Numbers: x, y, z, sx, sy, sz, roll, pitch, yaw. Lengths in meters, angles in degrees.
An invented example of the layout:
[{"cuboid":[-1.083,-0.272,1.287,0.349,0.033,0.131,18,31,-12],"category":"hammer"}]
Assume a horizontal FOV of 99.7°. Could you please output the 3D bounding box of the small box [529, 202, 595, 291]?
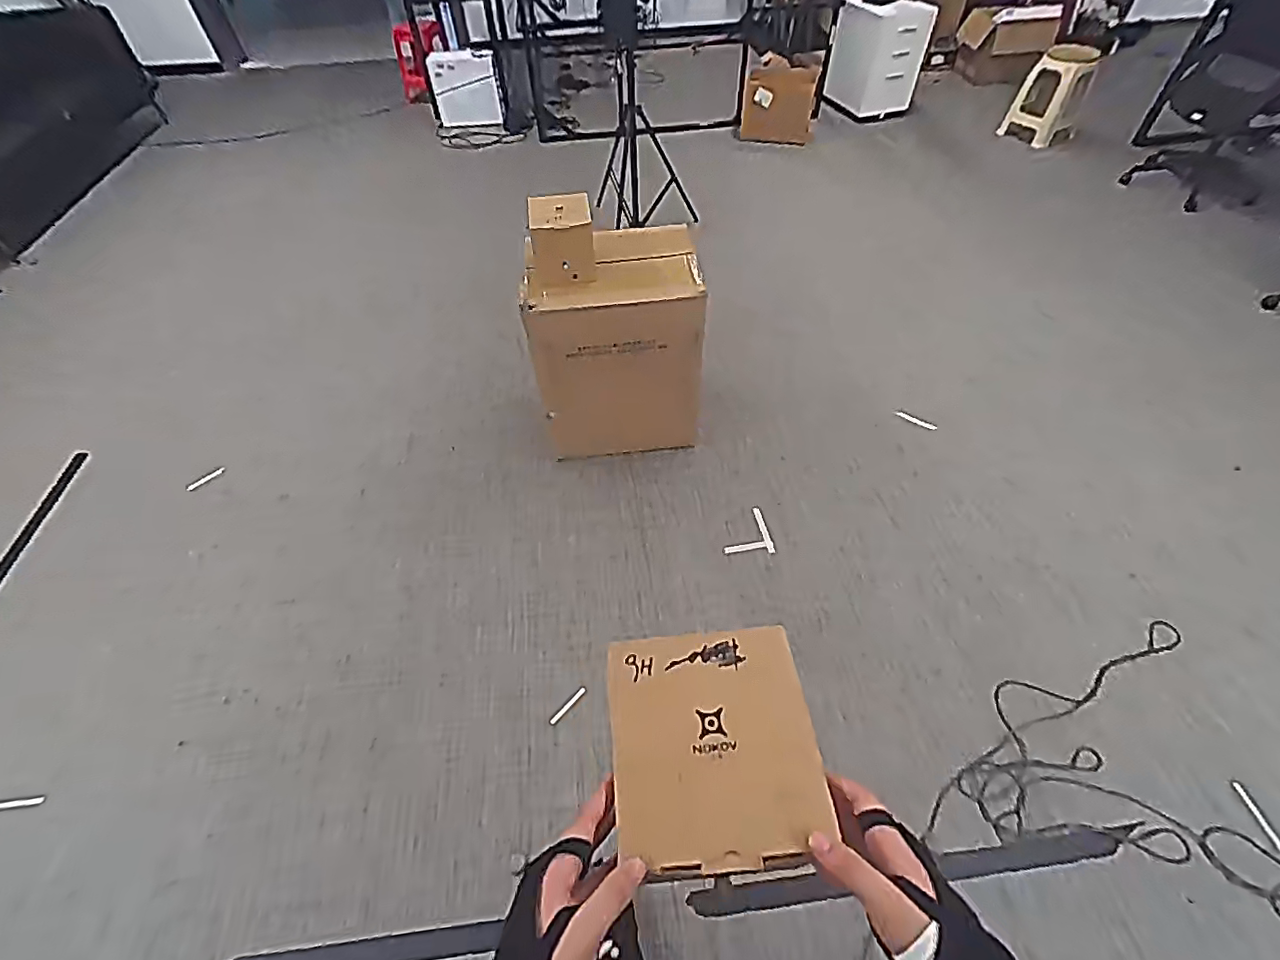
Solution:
[{"cuboid":[-0.221,-0.662,1.537,0.168,0.176,0.179,-7,53,-4],"category":"small box"}]
